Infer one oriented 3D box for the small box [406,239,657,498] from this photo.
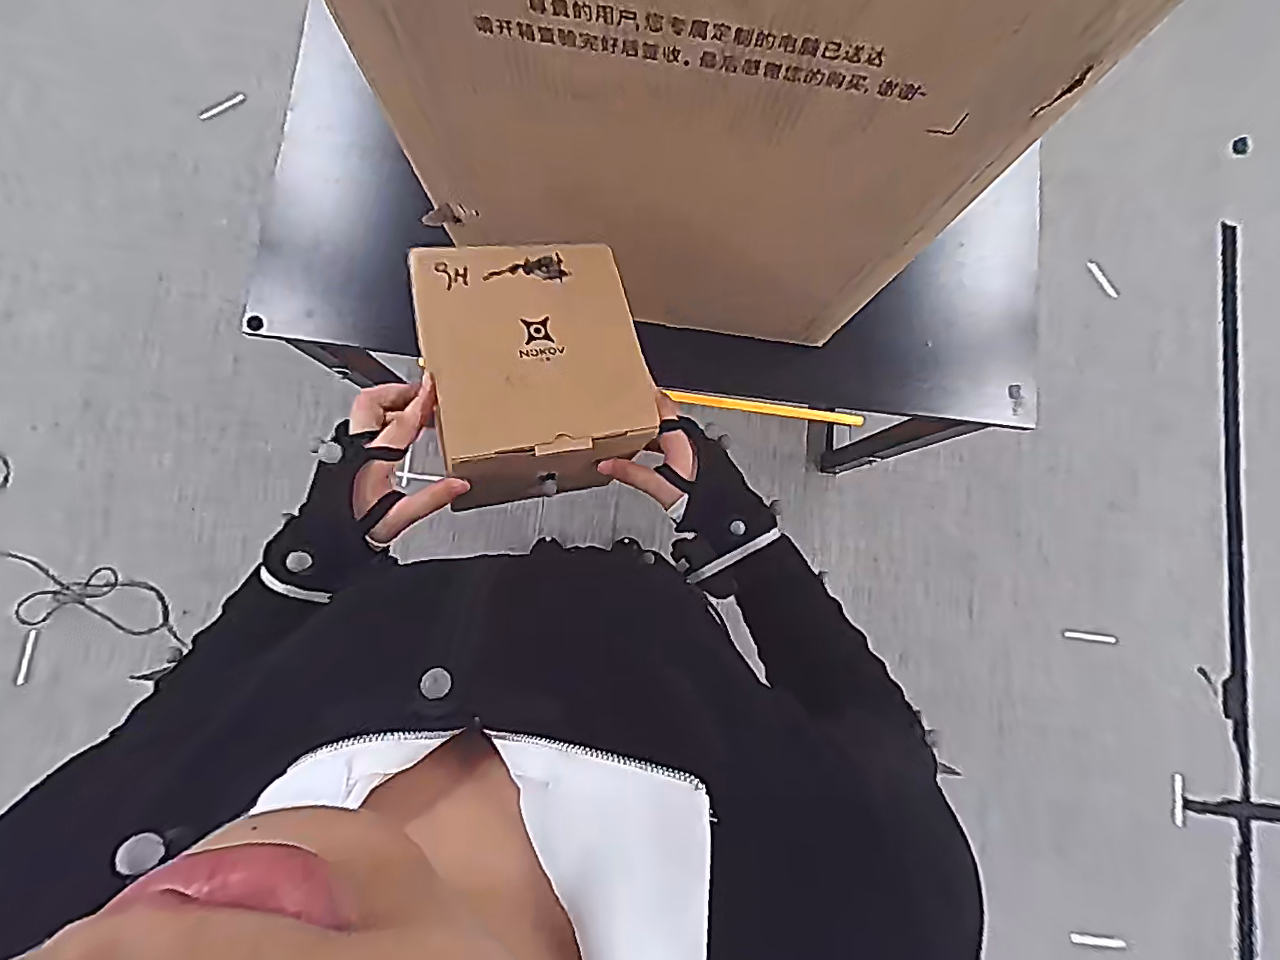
[{"bbox_3d":[-0.104,-0.088,0.492,0.168,0.176,0.179,-12,79,-21],"label":"small box"}]
